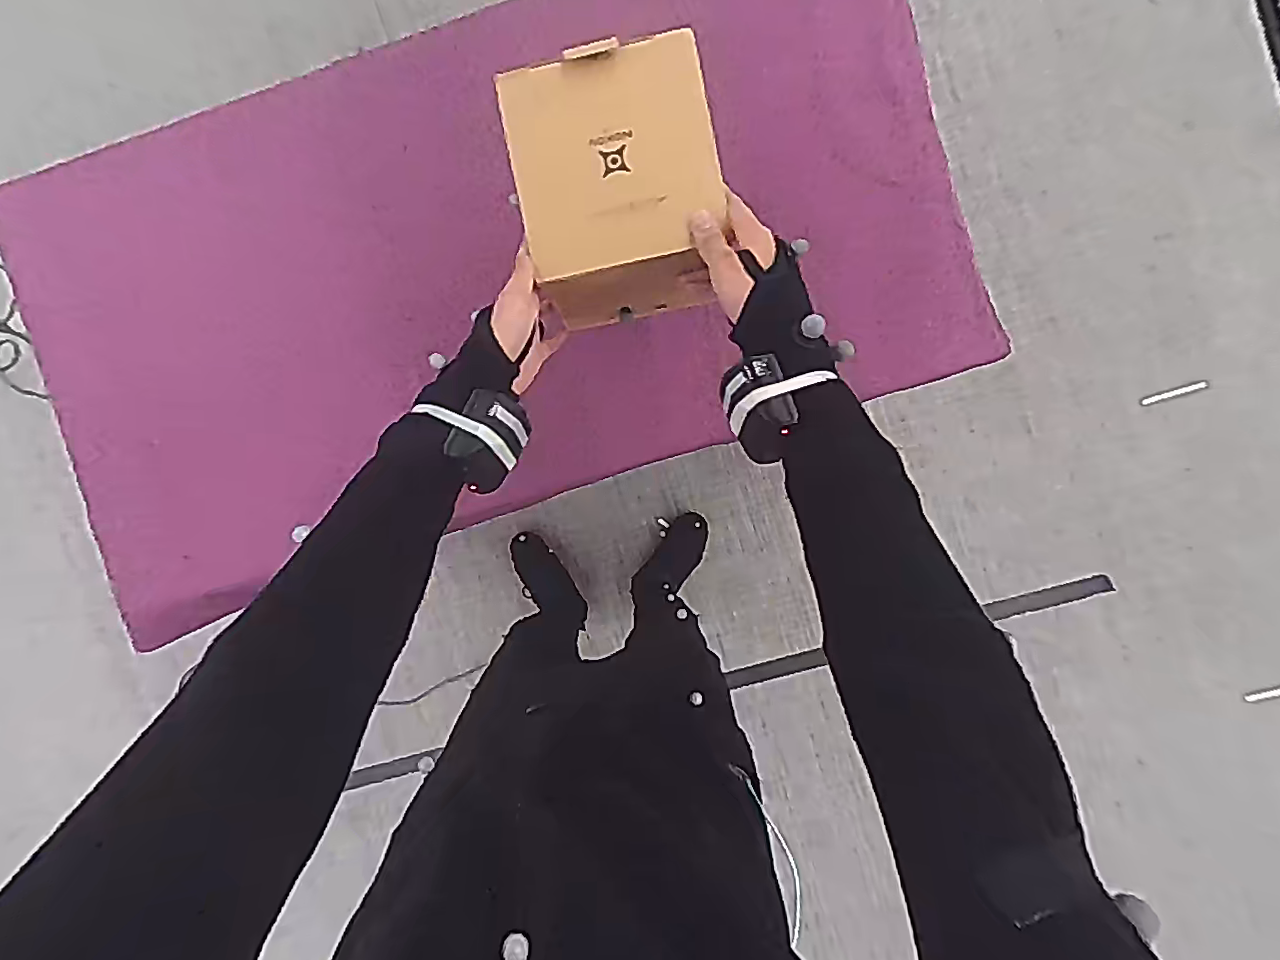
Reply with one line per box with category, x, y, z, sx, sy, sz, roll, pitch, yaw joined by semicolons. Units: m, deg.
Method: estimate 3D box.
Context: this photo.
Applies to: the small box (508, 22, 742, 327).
small box;-0.009;-0.262;0.507;0.168;0.176;0.179;-10;91;3
